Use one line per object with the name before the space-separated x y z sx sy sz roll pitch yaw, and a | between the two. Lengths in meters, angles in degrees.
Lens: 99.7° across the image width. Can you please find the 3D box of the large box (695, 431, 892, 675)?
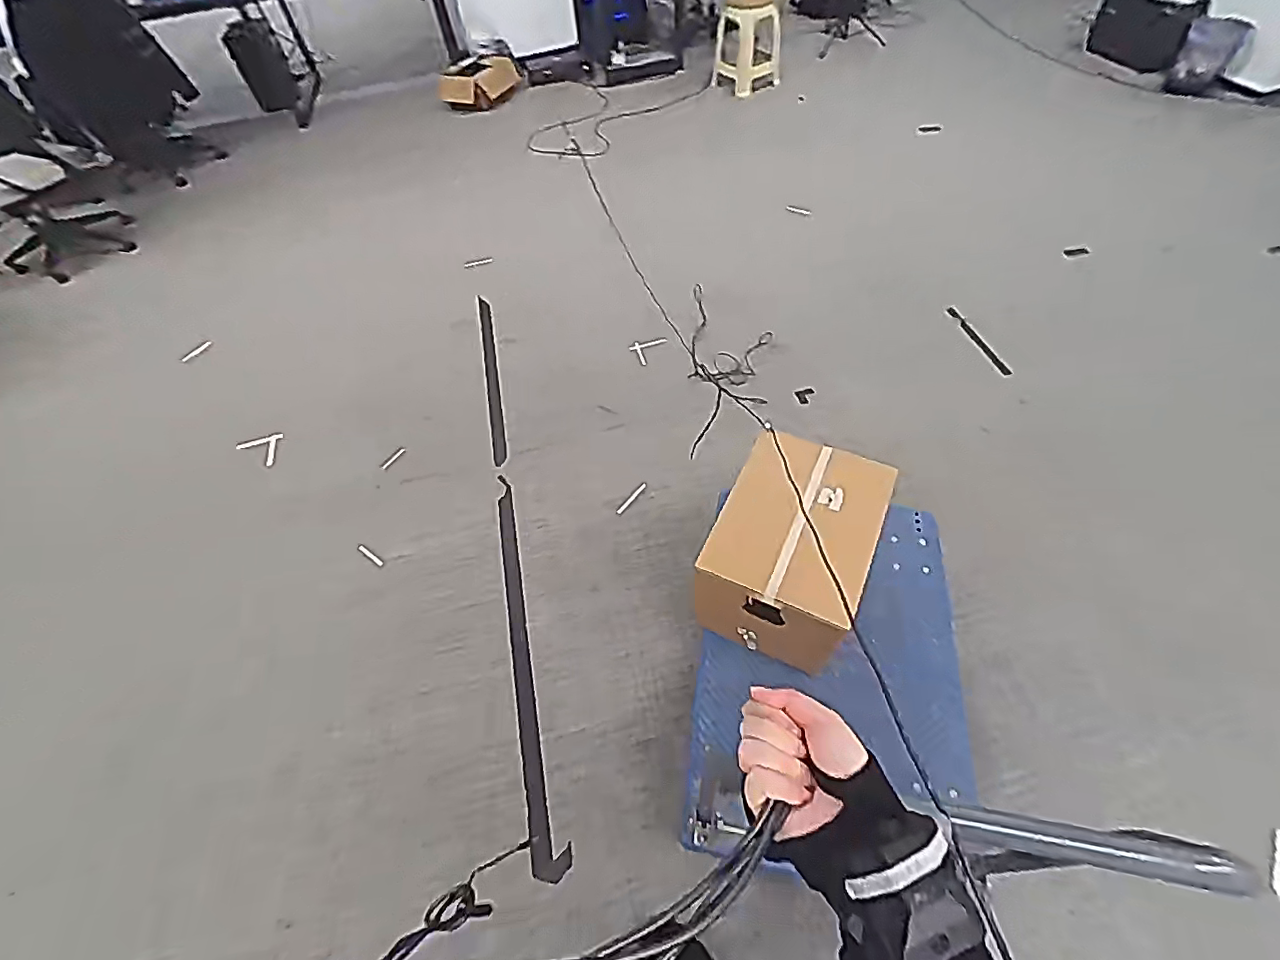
large box | 0.342 0.167 1.249 0.320 0.320 0.408 21 59 18
